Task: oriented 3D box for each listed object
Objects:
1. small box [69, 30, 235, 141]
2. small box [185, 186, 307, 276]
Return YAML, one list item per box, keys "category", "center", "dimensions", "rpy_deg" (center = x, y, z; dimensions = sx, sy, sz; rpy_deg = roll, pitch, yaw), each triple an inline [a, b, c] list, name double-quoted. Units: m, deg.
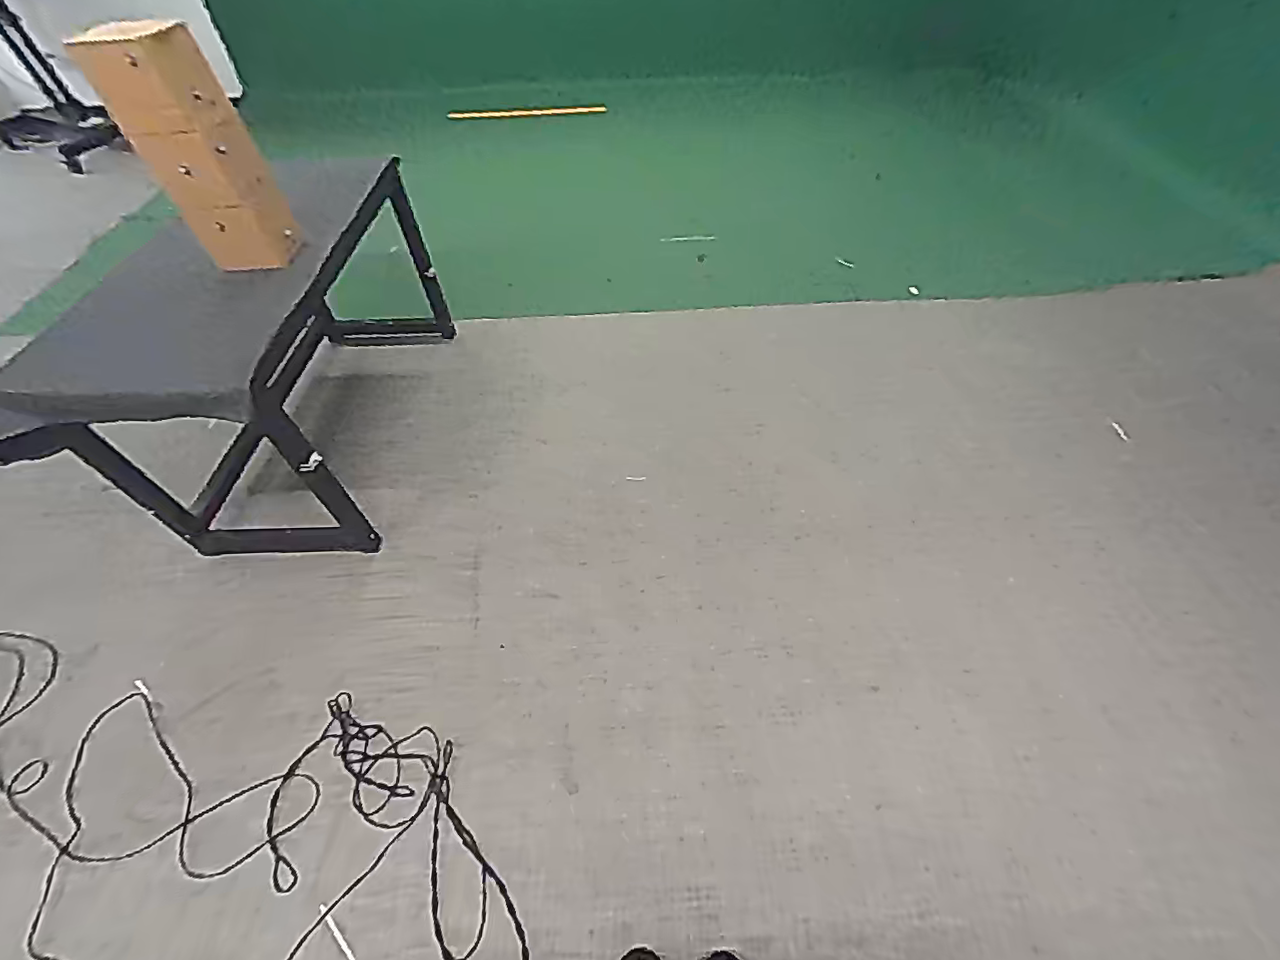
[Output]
- category: "small box"
  center: [-1.073, -0.876, 1.208]
  dimensions: [0.179, 0.176, 0.168]
  rpy_deg: [0, 51, 3]
- category: "small box"
  center: [-1.051, -0.669, 1.459]
  dimensions: [0.179, 0.176, 0.168]
  rpy_deg: [-3, 51, 1]
